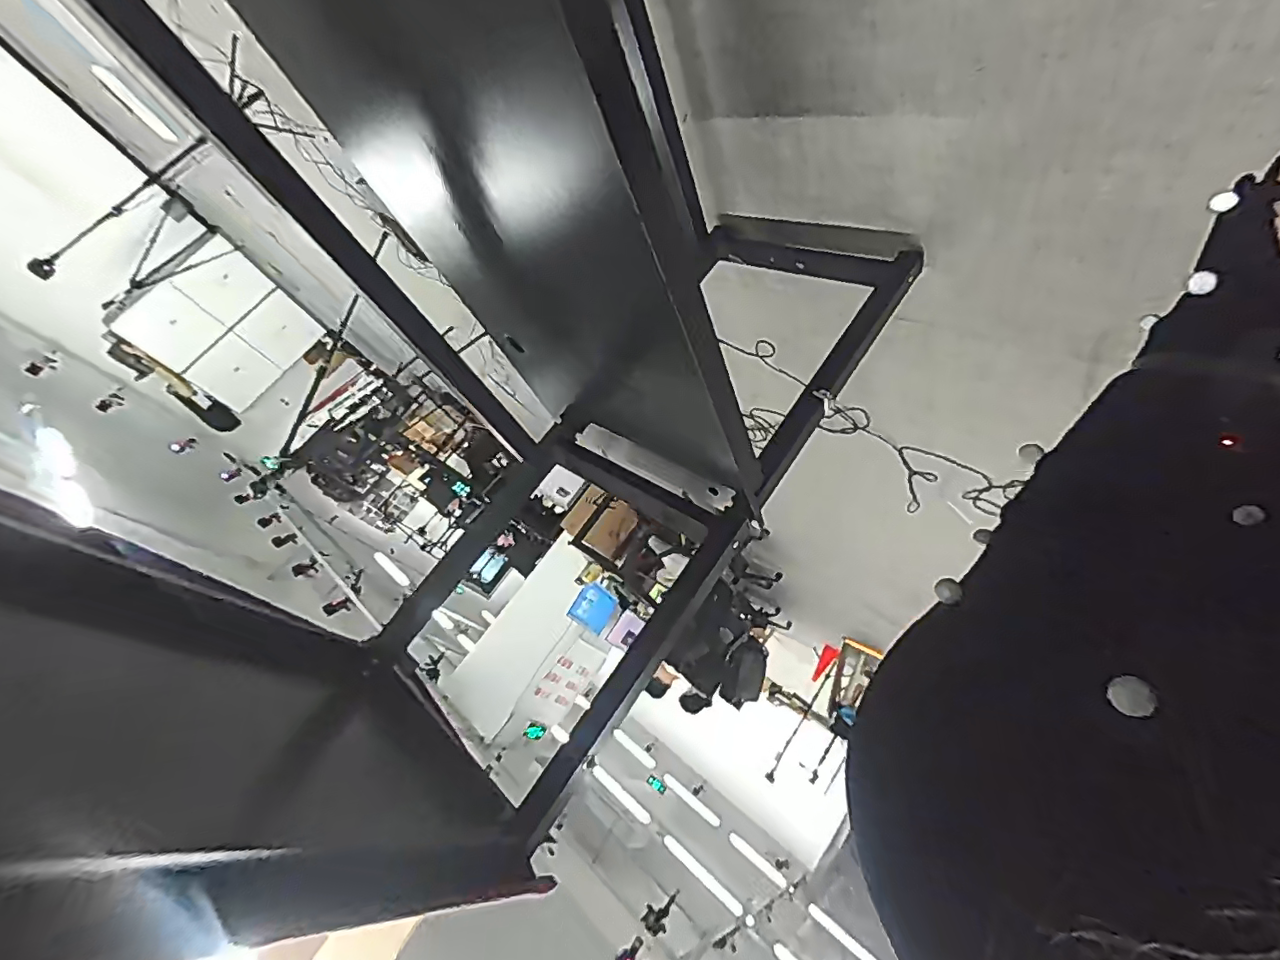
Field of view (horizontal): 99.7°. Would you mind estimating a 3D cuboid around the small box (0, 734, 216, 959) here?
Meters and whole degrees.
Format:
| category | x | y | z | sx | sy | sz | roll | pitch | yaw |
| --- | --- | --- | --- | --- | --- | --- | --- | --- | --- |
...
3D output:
| category | x | y | z | sx | sy | sz | roll | pitch | yaw |
| --- | --- | --- | --- | --- | --- | --- | --- | --- | --- |
| small box | -0.556 | 0.370 | 0.508 | 0.168 | 0.176 | 0.179 | 29 | 163 | 34 |
